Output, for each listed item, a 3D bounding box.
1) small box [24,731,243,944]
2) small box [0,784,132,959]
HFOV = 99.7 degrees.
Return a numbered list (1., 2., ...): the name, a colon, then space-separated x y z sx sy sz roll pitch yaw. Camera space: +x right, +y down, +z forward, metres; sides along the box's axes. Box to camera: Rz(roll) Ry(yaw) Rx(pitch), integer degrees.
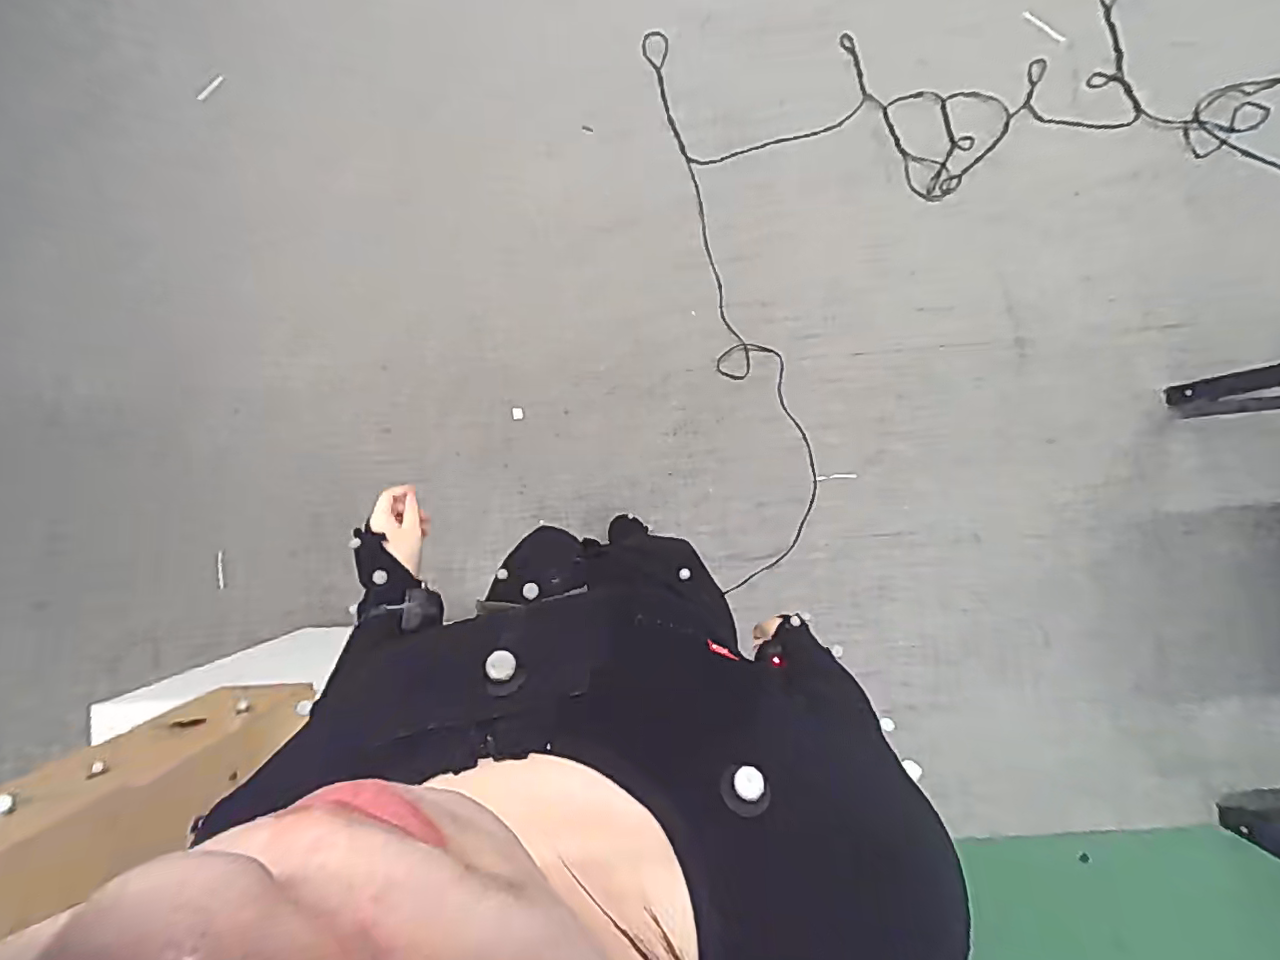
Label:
1. small box: -0.632 0.430 0.673 0.179 0.176 0.168 -3 88 2
2. small box: -0.633 0.420 0.508 0.168 0.176 0.179 -4 89 1
